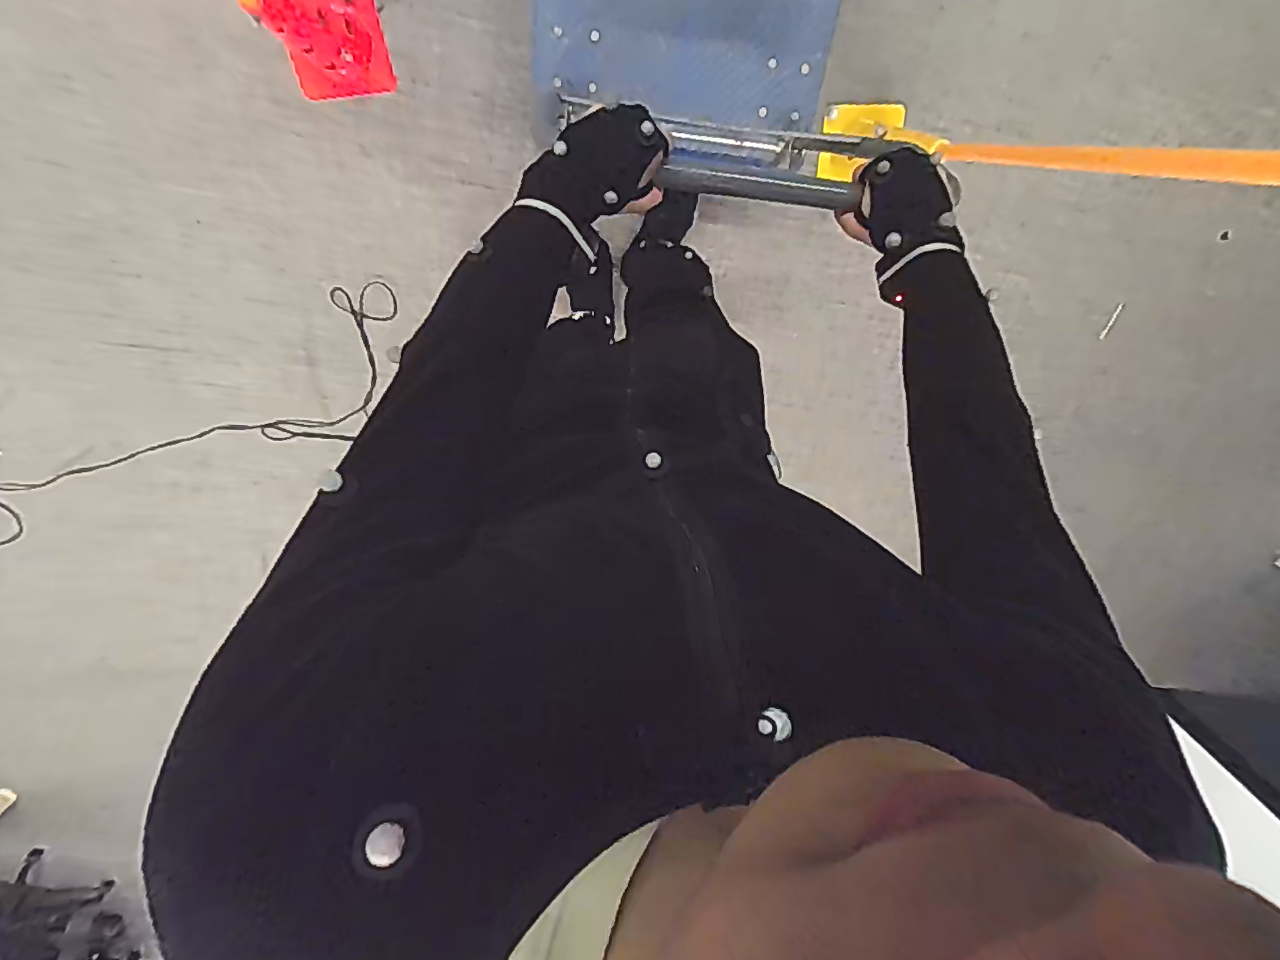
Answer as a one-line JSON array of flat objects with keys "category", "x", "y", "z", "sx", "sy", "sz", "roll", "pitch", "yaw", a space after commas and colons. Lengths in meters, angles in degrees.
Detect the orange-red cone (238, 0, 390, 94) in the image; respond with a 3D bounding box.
[{"category": "orange-red cone", "x": -0.609, "y": -0.817, "z": 0.947, "sx": 0.199, "sy": 0.360, "sz": 0.198, "roll": -7, "pitch": 122, "yaw": -2}]
